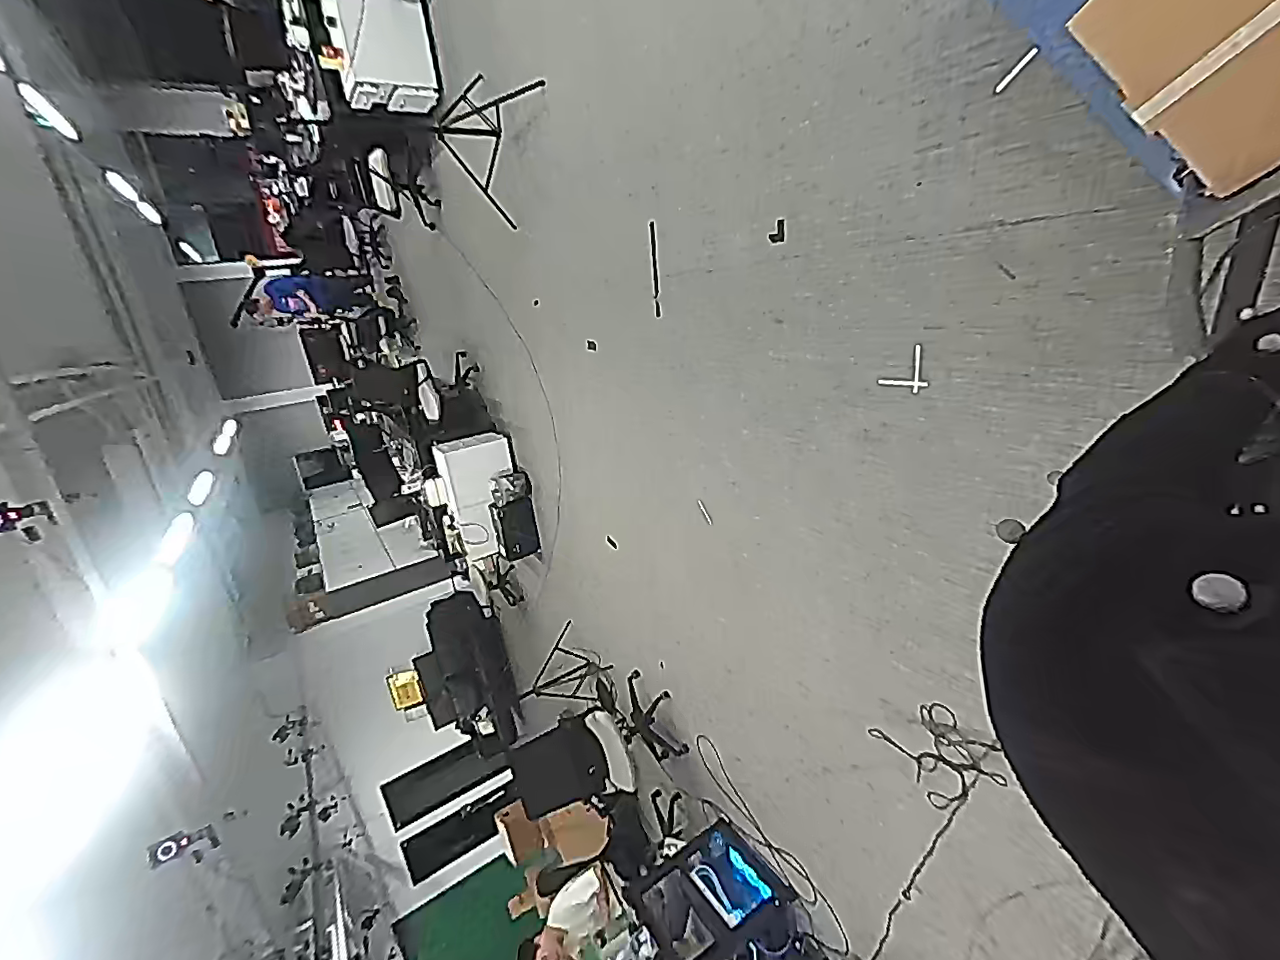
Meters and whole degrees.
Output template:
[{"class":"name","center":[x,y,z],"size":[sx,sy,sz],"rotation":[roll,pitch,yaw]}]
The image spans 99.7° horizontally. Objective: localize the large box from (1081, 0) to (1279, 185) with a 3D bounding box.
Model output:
[{"class":"large box","center":[0.848,-0.649,0.625],"size":[0.320,0.320,0.408],"rotation":[47,147,1]}]
